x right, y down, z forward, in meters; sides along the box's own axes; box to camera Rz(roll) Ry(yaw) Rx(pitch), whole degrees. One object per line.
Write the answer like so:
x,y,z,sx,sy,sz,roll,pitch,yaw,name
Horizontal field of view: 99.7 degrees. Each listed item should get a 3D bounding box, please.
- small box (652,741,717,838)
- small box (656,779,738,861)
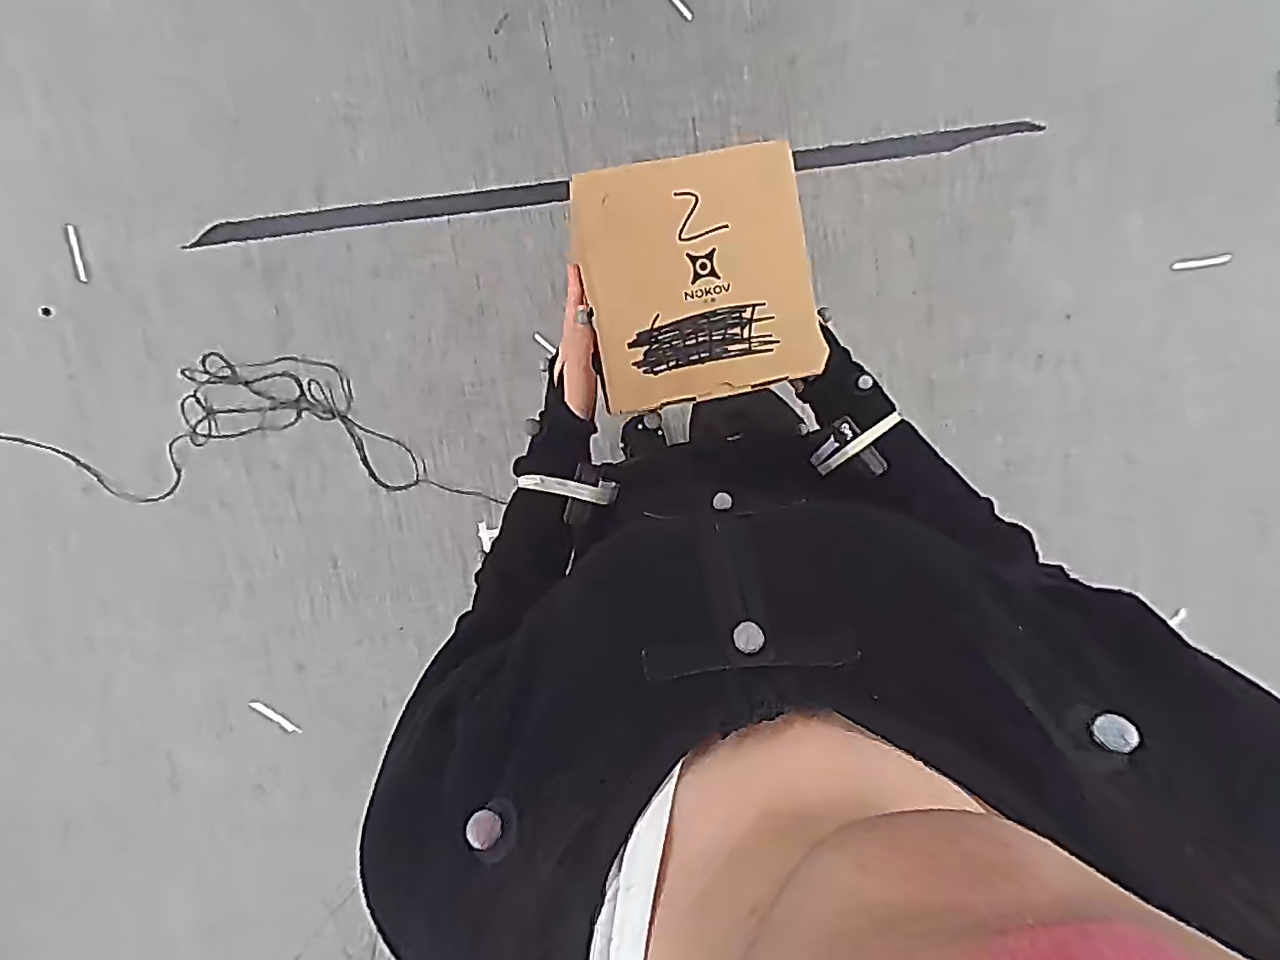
0.128,0.869,1.529,0.179,0.176,0.168,-9,98,-1,small box
0.141,0.887,1.366,0.179,0.176,0.168,-6,97,-2,small box
